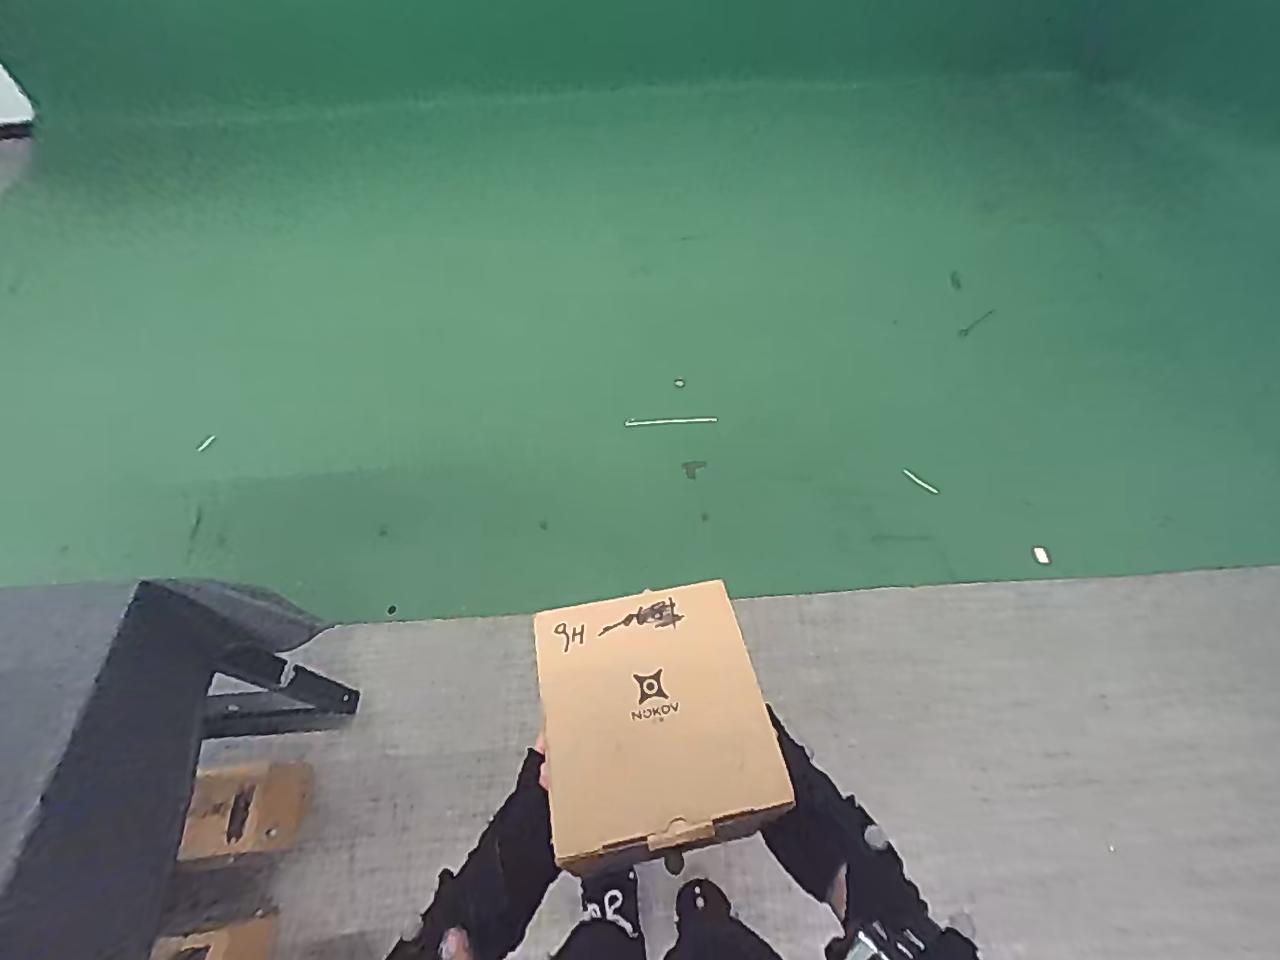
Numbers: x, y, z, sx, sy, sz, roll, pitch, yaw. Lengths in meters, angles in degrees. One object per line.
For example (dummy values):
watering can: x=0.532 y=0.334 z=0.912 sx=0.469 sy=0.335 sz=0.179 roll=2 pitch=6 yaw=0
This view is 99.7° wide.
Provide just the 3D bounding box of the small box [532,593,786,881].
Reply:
small box: x=0.005 y=0.222 z=0.463 sx=0.168 sy=0.176 sz=0.179 roll=-8 pitch=52 yaw=-8

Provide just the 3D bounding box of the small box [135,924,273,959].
small box: x=-0.849 y=0.979 z=1.040 sx=0.168 sy=0.176 sz=0.179 roll=-5 pitch=58 yaw=-1
